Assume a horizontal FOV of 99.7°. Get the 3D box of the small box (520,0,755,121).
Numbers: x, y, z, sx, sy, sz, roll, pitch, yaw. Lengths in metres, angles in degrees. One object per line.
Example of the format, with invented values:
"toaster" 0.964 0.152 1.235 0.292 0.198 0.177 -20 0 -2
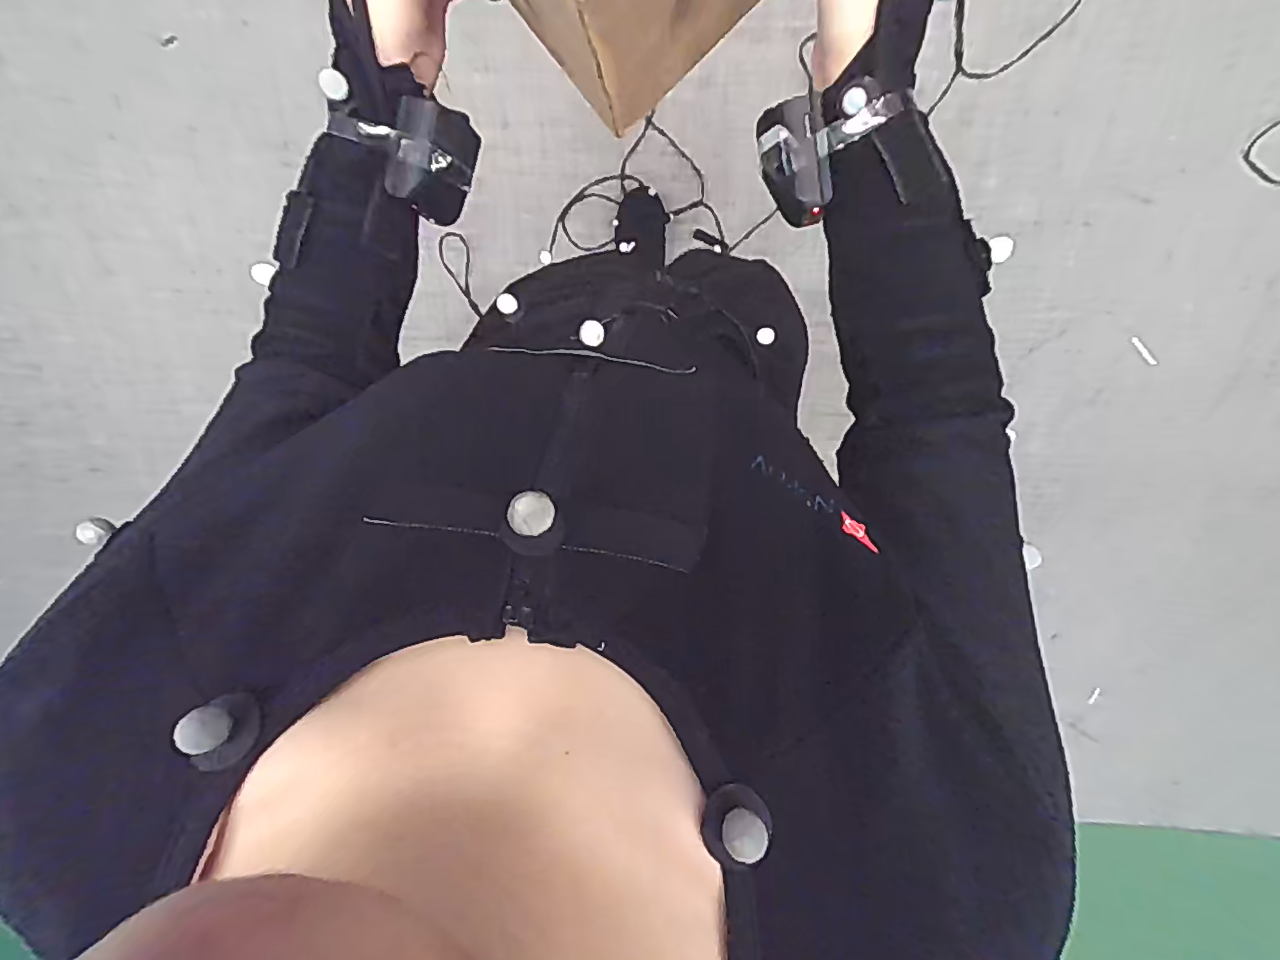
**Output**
"small box" -0.009 -0.338 0.279 0.179 0.176 0.168 -39 98 13
